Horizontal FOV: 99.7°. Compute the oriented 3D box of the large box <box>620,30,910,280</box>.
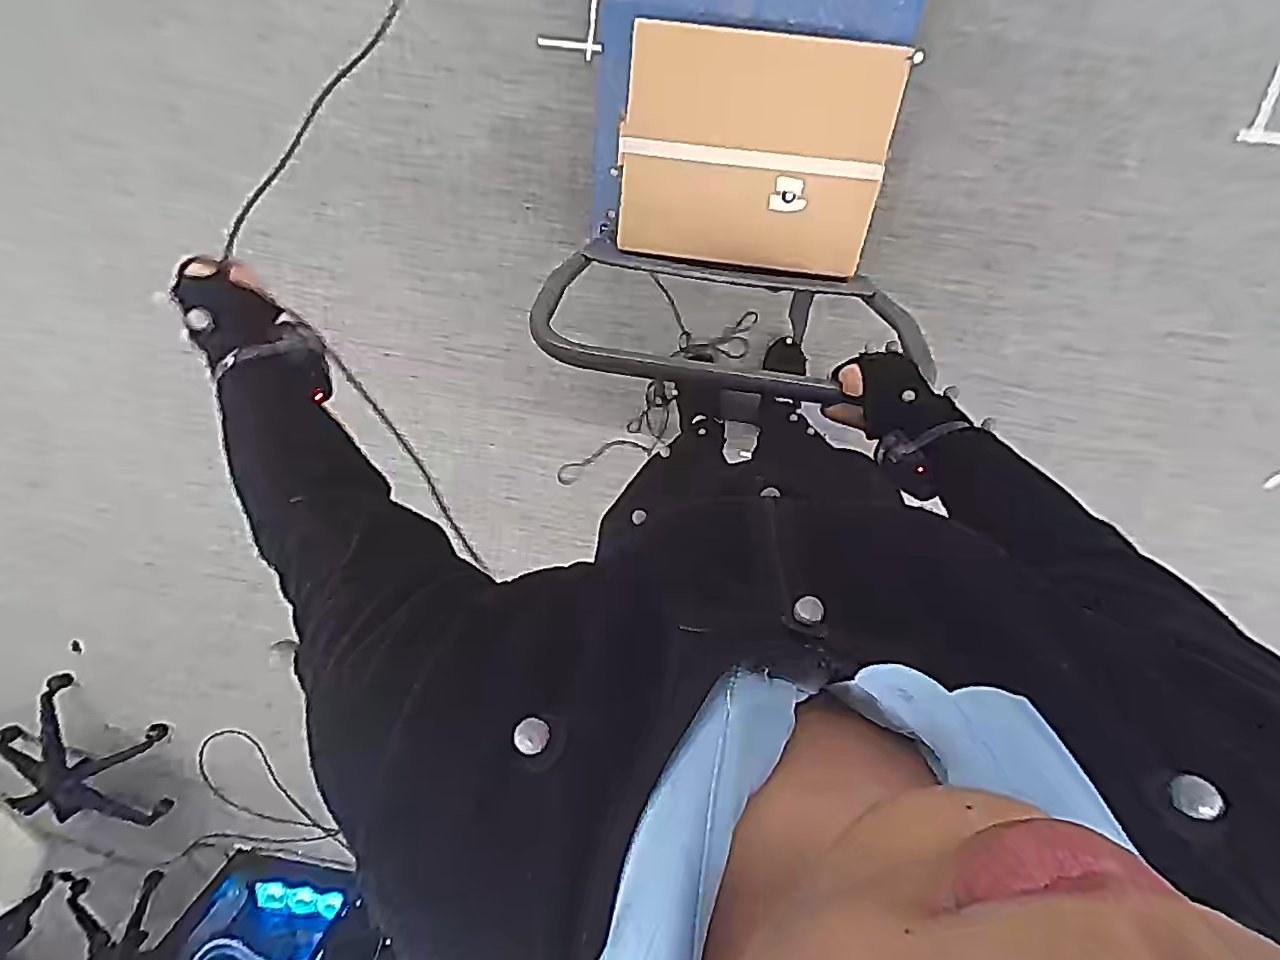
[{"bbox_3d":[0.185,-0.559,0.972,0.408,0.320,0.320,7,119,2],"label":"large box"}]
